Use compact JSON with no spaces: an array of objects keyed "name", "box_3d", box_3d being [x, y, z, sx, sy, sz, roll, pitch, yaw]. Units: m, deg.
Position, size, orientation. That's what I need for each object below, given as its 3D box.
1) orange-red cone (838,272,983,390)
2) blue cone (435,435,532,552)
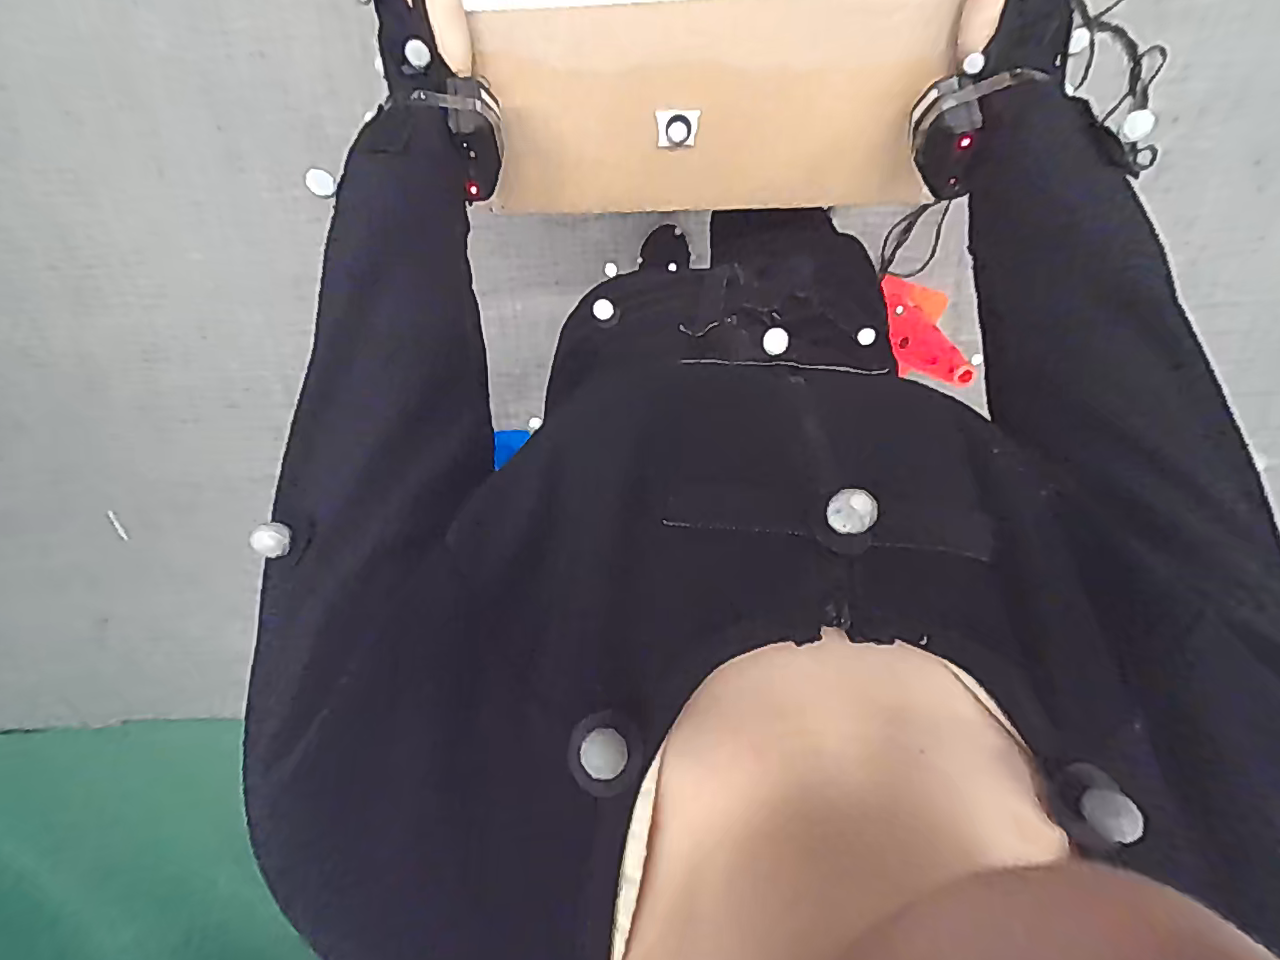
[{"name":"orange-red cone","box_3d":[0.564,-0.257,1.060,0.199,0.360,0.198,16,119,-8]},{"name":"blue cone","box_3d":[-0.392,0.047,1.287,0.192,0.380,0.193,-1,119,3]}]
